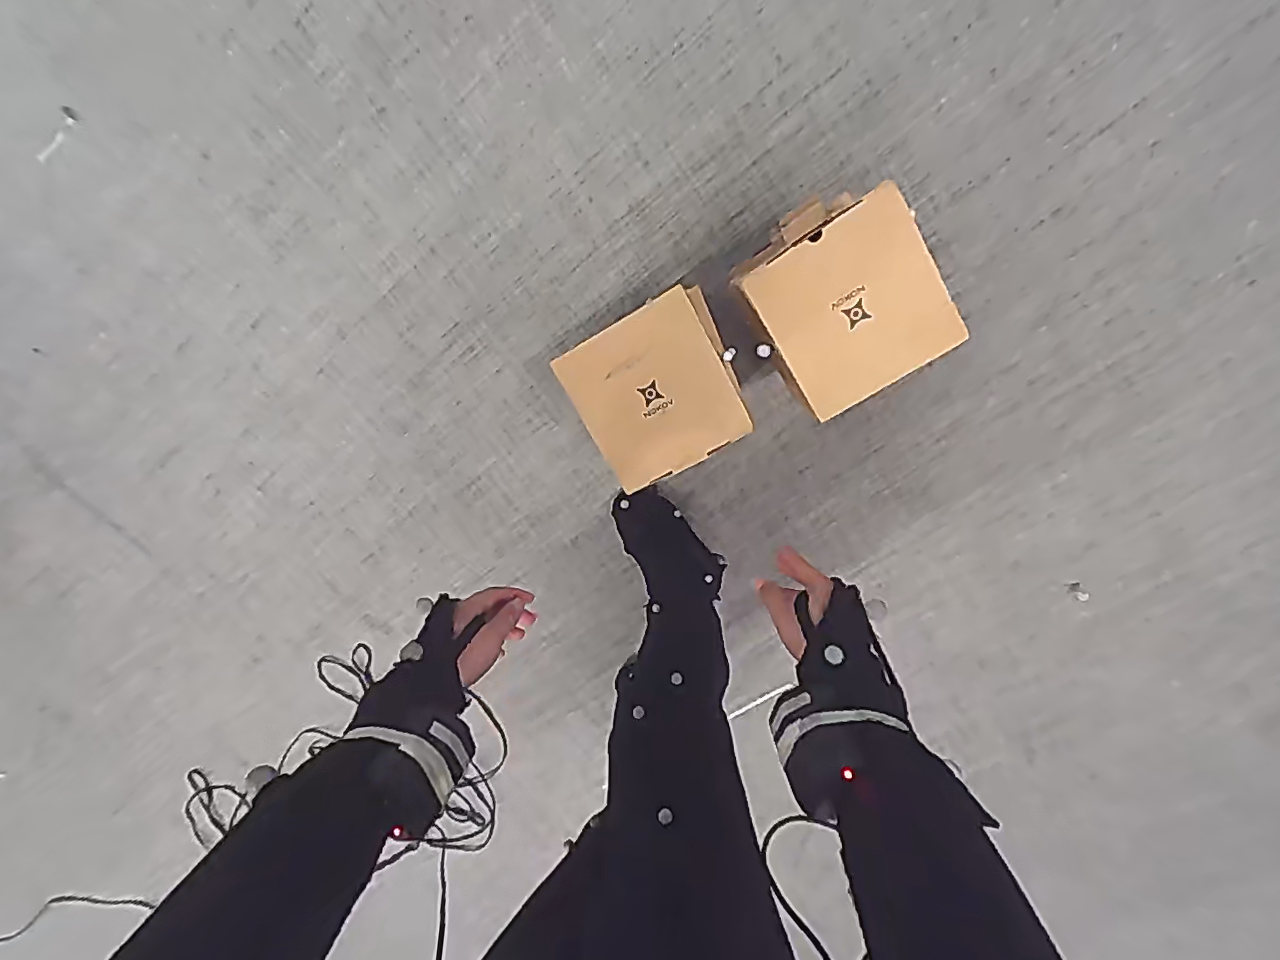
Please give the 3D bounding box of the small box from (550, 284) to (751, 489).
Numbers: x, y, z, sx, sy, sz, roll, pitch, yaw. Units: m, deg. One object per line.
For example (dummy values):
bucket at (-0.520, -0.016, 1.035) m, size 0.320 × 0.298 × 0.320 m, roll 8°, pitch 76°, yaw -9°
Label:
small box at (0.020, -0.120, 0.664) m, size 0.168 × 0.176 × 0.179 m, roll -28°, pitch 103°, yaw 12°

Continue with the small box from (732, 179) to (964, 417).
small box at (0.220, -0.201, 0.617) m, size 0.168 × 0.176 × 0.179 m, roll -31°, pitch 103°, yaw 14°

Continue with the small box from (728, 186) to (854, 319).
small box at (0.237, -0.270, 0.764) m, size 0.168 × 0.176 × 0.179 m, roll -31°, pitch 102°, yaw 14°
